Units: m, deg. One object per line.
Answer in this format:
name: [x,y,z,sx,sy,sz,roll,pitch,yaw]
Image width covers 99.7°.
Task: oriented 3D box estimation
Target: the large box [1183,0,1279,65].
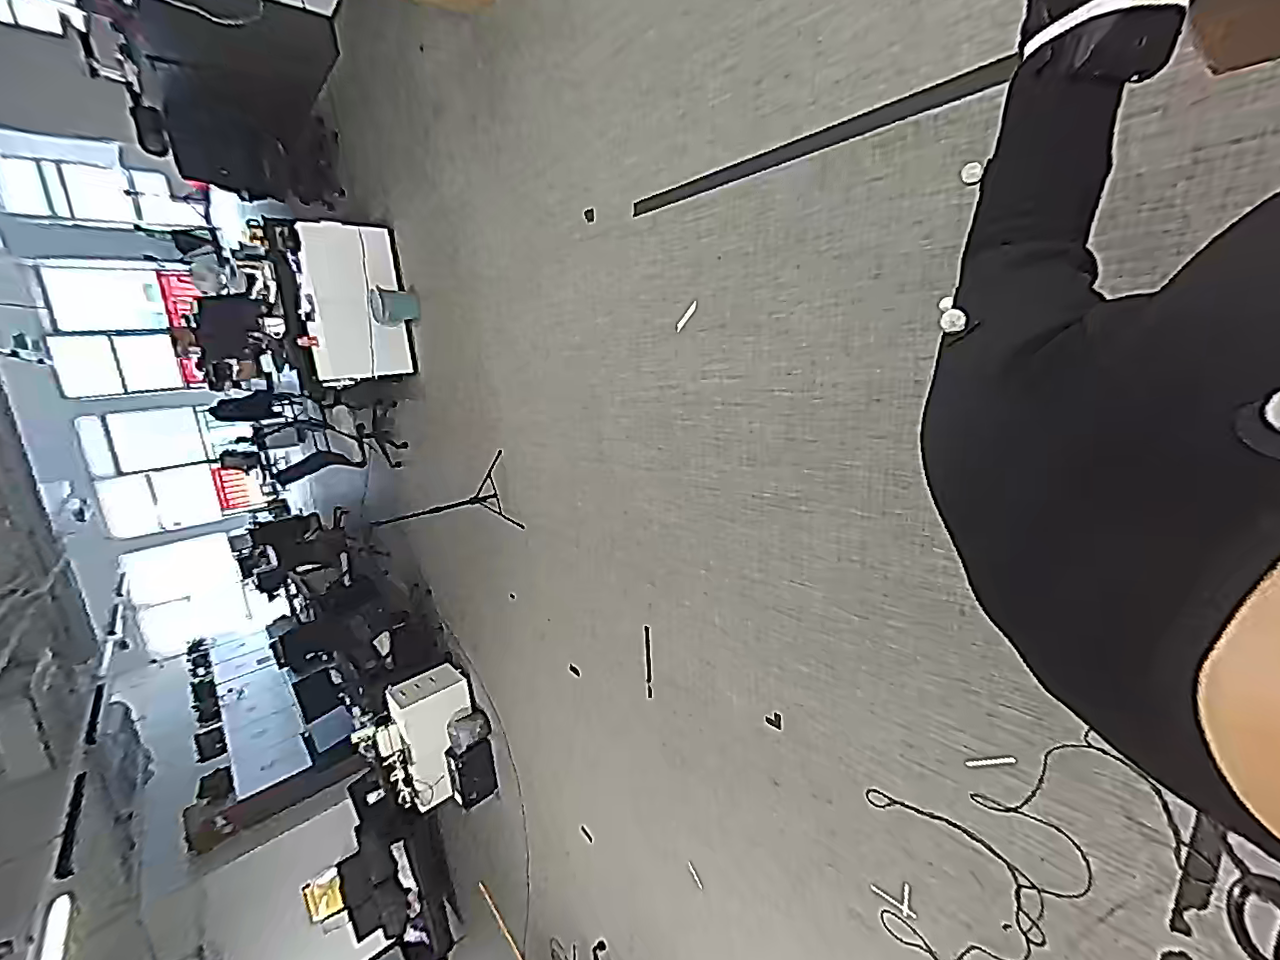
large box: [0.560,-0.484,0.253,0.408,0.320,0.320,13,115,48]
